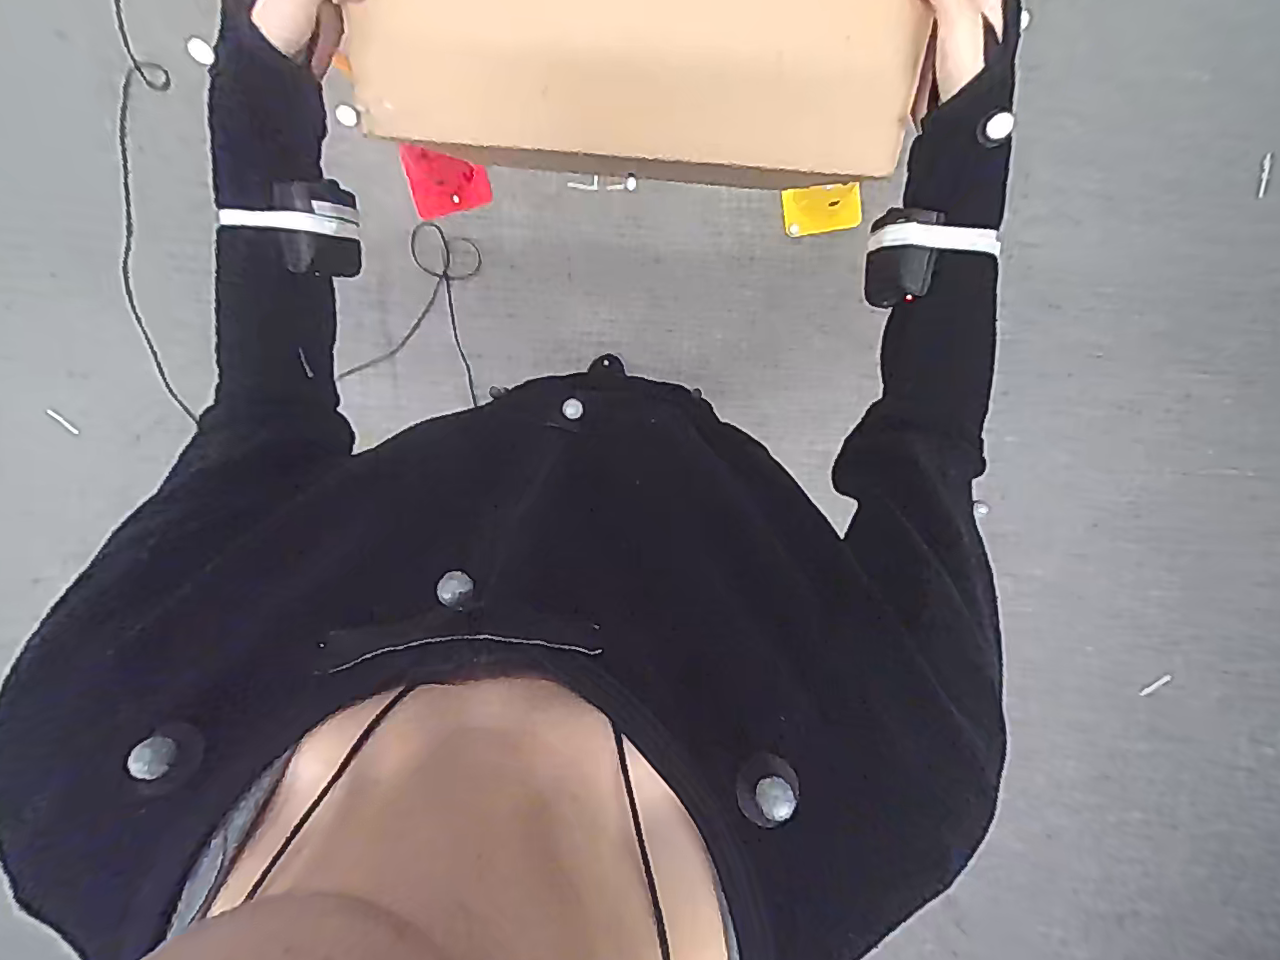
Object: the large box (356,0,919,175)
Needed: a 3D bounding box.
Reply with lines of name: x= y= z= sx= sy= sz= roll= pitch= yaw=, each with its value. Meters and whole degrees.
large box: x=0.004 y=-0.461 z=0.482 sx=0.408 sy=0.320 sz=0.320 roll=3 pitch=116 yaw=-2
